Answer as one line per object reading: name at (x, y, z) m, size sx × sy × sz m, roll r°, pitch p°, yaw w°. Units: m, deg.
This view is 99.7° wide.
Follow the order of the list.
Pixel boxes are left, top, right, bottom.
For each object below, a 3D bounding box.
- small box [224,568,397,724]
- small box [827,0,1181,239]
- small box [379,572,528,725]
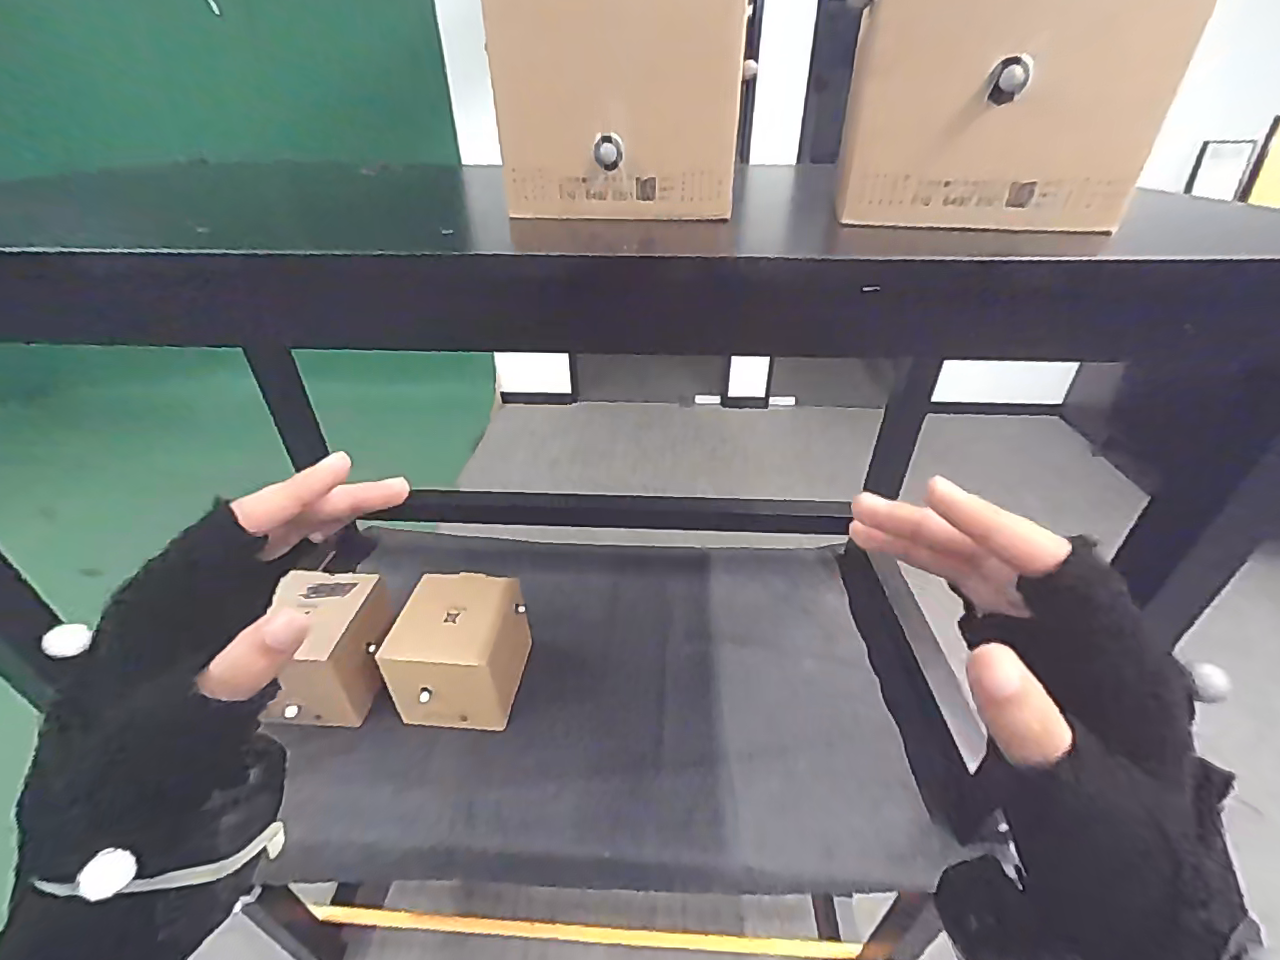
small box at (-0.516, 0.268, 0.886) m, size 0.168 × 0.176 × 0.179 m, roll 2°, pitch 34°, yaw 3°
small box at (0.236, -0.278, 0.389) m, size 0.168 × 0.176 × 0.179 m, roll 8°, pitch 34°, yaw 12°
small box at (-0.288, 0.273, 0.883) m, size 0.168 × 0.176 × 0.179 m, roll 3°, pitch 34°, yaw 4°
